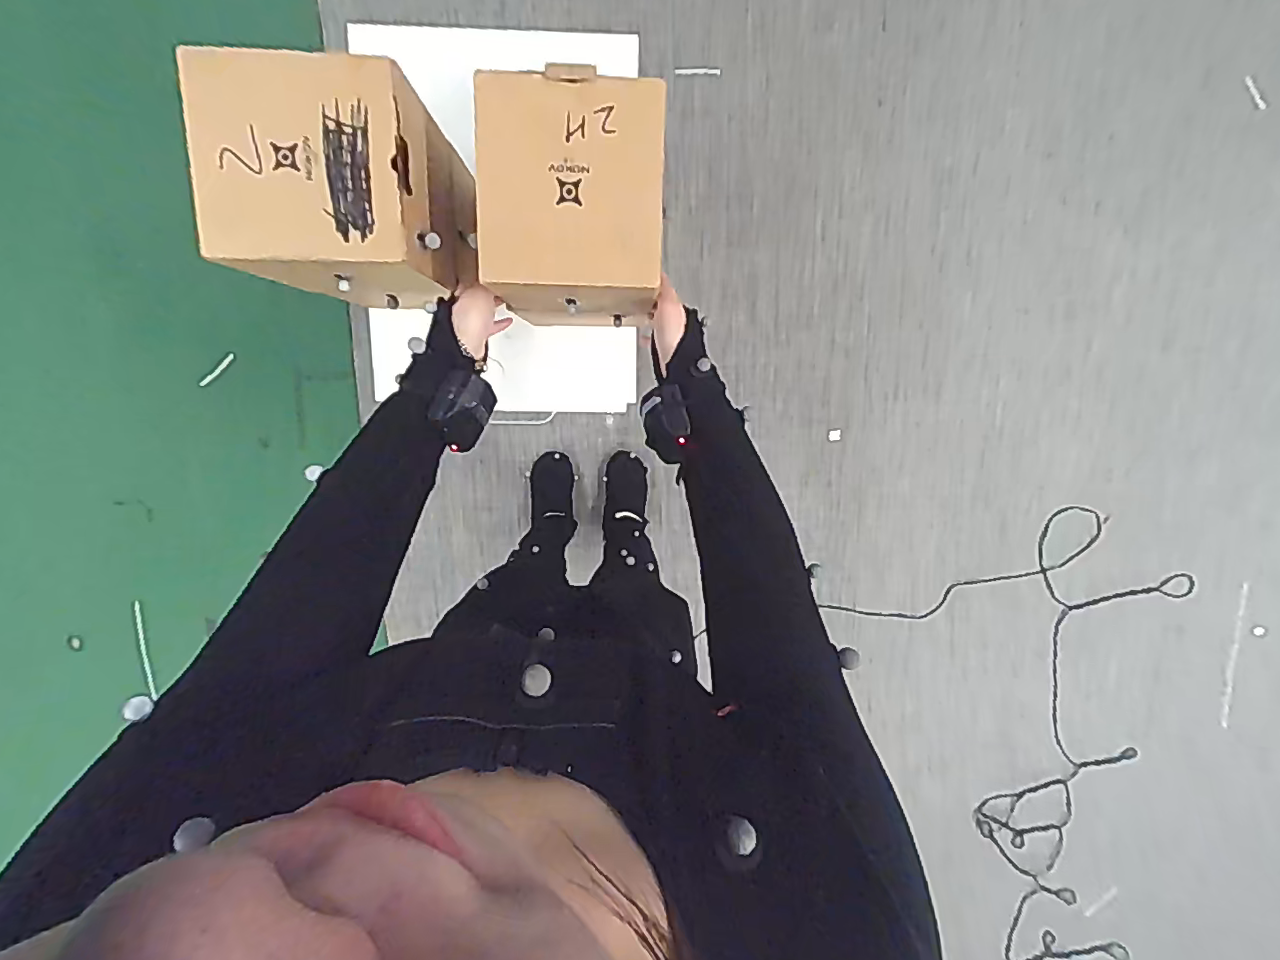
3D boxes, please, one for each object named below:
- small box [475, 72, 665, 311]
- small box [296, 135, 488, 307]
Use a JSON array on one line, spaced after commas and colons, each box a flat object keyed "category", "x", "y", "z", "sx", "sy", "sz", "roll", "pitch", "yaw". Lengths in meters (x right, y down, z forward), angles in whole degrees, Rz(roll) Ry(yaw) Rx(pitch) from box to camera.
[{"category": "small box", "x": -0.066, "y": -0.274, "z": 0.556, "sx": 0.168, "sy": 0.176, "sz": 0.179, "roll": 1, "pitch": 100, "yaw": -3}, {"category": "small box", "x": -0.306, "y": -0.321, "z": 0.702, "sx": 0.179, "sy": 0.176, "sz": 0.168, "roll": -1, "pitch": 101, "yaw": -4}]
